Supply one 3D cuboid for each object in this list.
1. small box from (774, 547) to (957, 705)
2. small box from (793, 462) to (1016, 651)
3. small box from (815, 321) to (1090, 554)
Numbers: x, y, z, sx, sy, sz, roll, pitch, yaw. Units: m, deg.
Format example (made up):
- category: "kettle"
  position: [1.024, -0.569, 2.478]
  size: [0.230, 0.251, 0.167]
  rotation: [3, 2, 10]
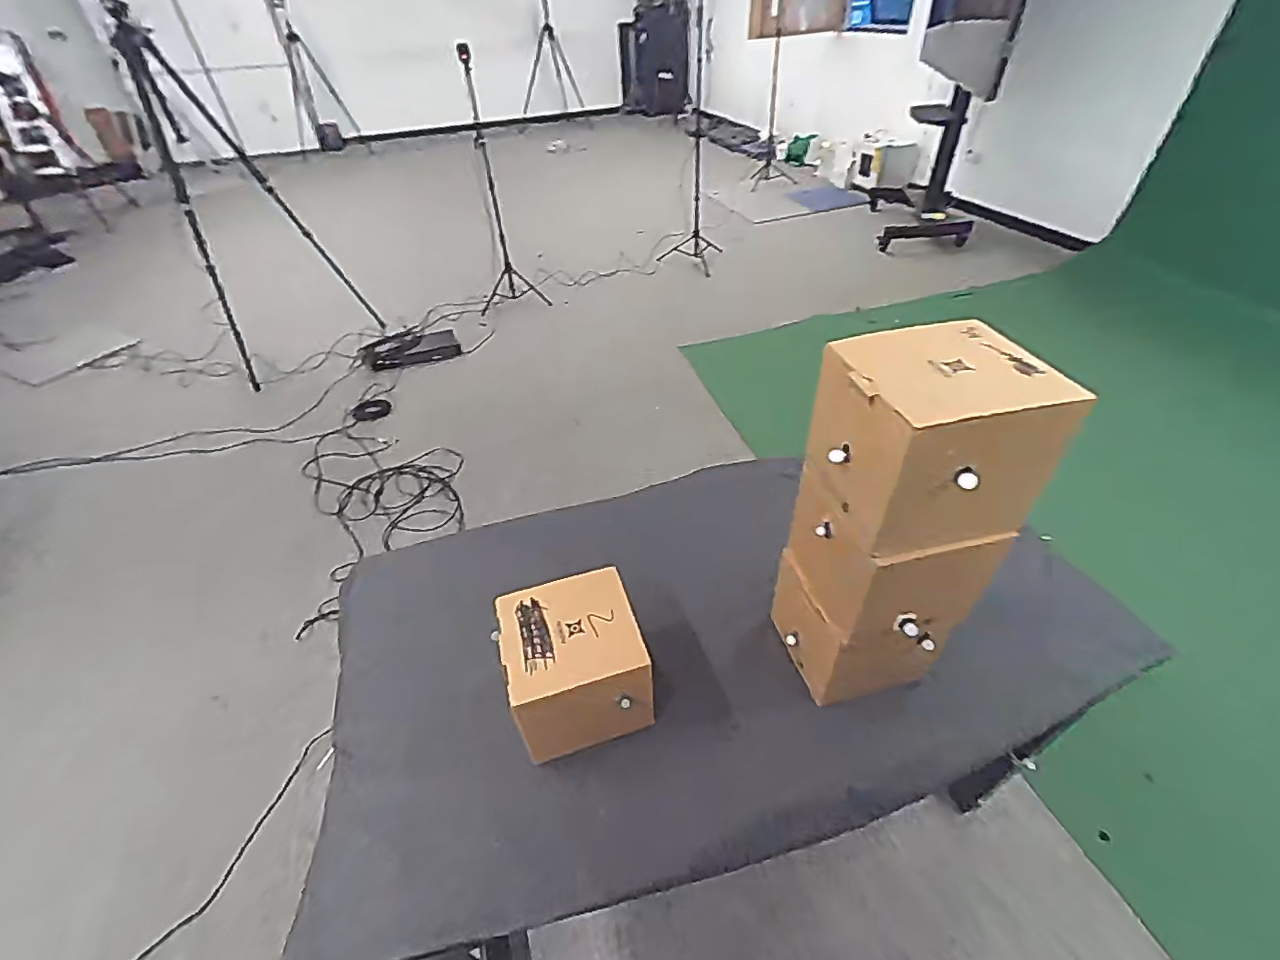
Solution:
- category: "small box"
  position: [0.314, 0.197, 0.787]
  size: [0.179, 0.176, 0.168]
  rotation: [-12, 42, -8]
- category: "small box"
  position: [0.306, 0.081, 0.674]
  size: [0.168, 0.176, 0.179]
  rotation: [-12, 43, -6]
- category: "small box"
  position: [0.298, -0.043, 0.568]
  size: [0.179, 0.176, 0.168]
  rotation: [-11, 42, -5]
